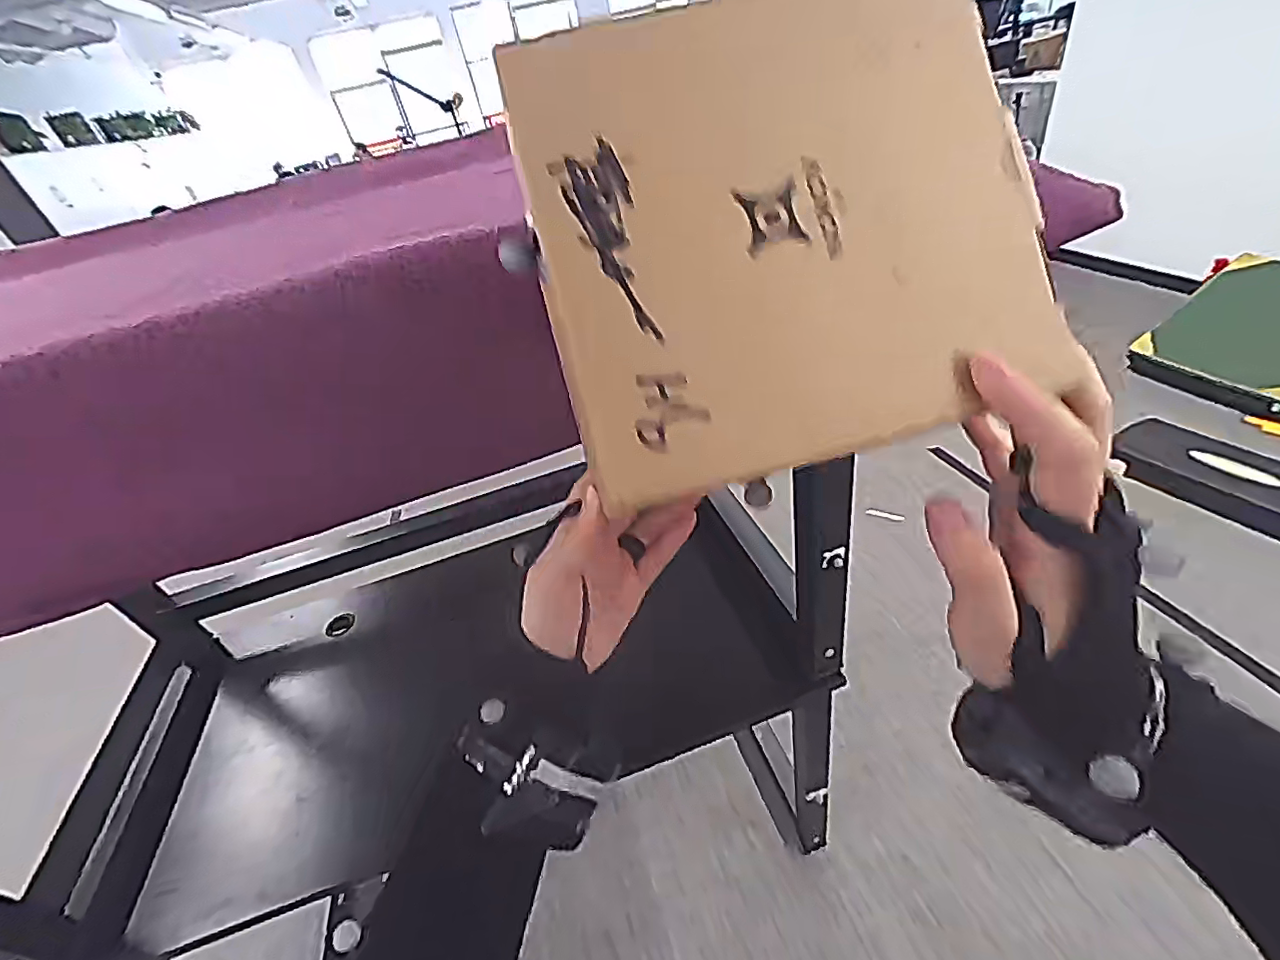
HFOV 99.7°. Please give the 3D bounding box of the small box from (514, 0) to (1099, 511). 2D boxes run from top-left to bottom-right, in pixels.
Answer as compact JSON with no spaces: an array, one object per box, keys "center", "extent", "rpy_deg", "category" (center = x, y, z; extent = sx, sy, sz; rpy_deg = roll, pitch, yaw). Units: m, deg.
[{"center":[0.051,-0.085,0.262],"extent":[0.179,0.168,0.176],"rpy_deg":[-14,-4,-7],"category":"small box"}]
